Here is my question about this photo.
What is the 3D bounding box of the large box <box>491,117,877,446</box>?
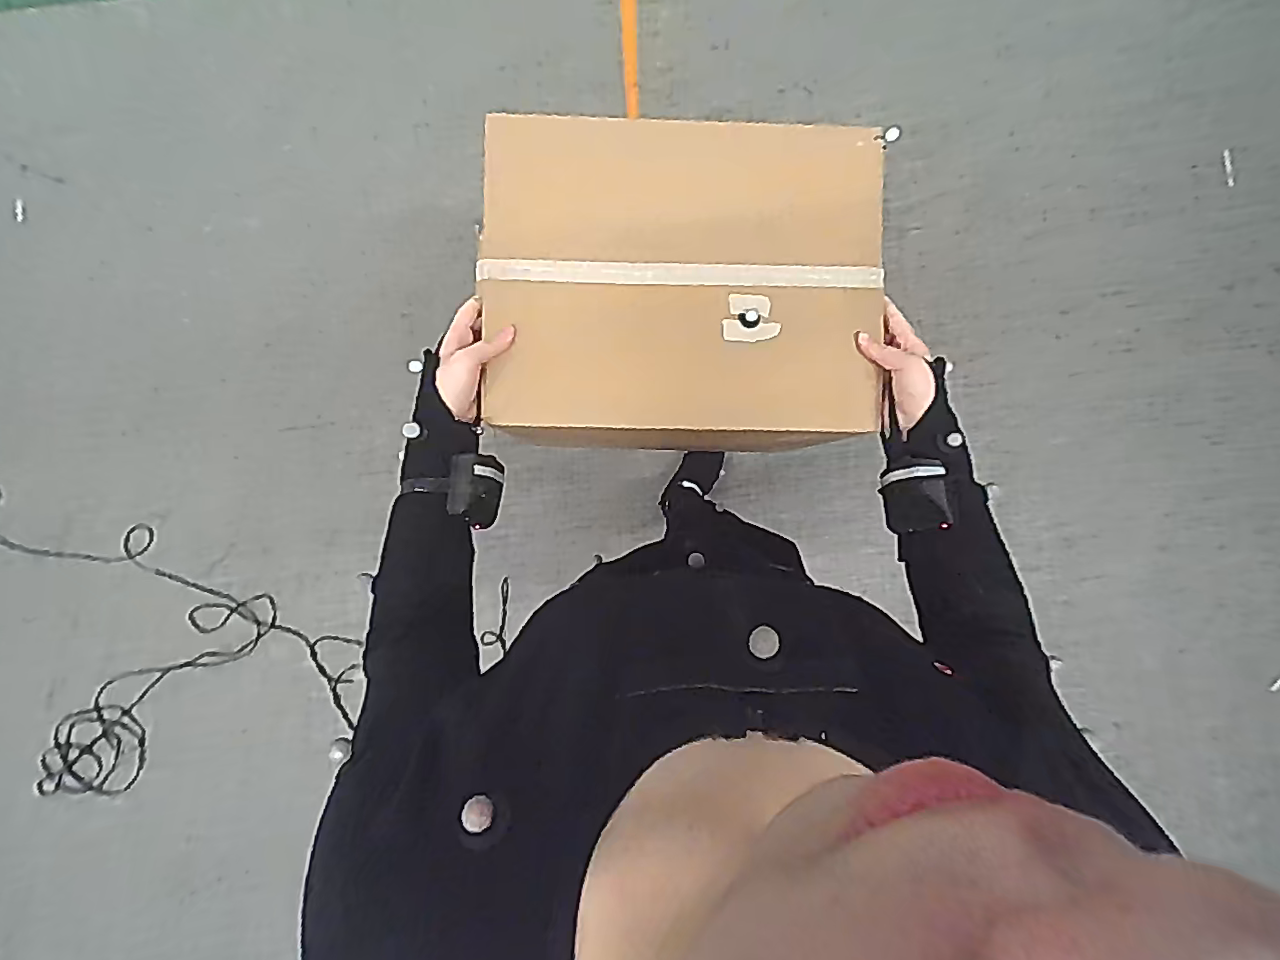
[{"bbox_3d":[0.039,-0.212,0.702,0.408,0.320,0.320,1,90,-3],"label":"large box"}]
